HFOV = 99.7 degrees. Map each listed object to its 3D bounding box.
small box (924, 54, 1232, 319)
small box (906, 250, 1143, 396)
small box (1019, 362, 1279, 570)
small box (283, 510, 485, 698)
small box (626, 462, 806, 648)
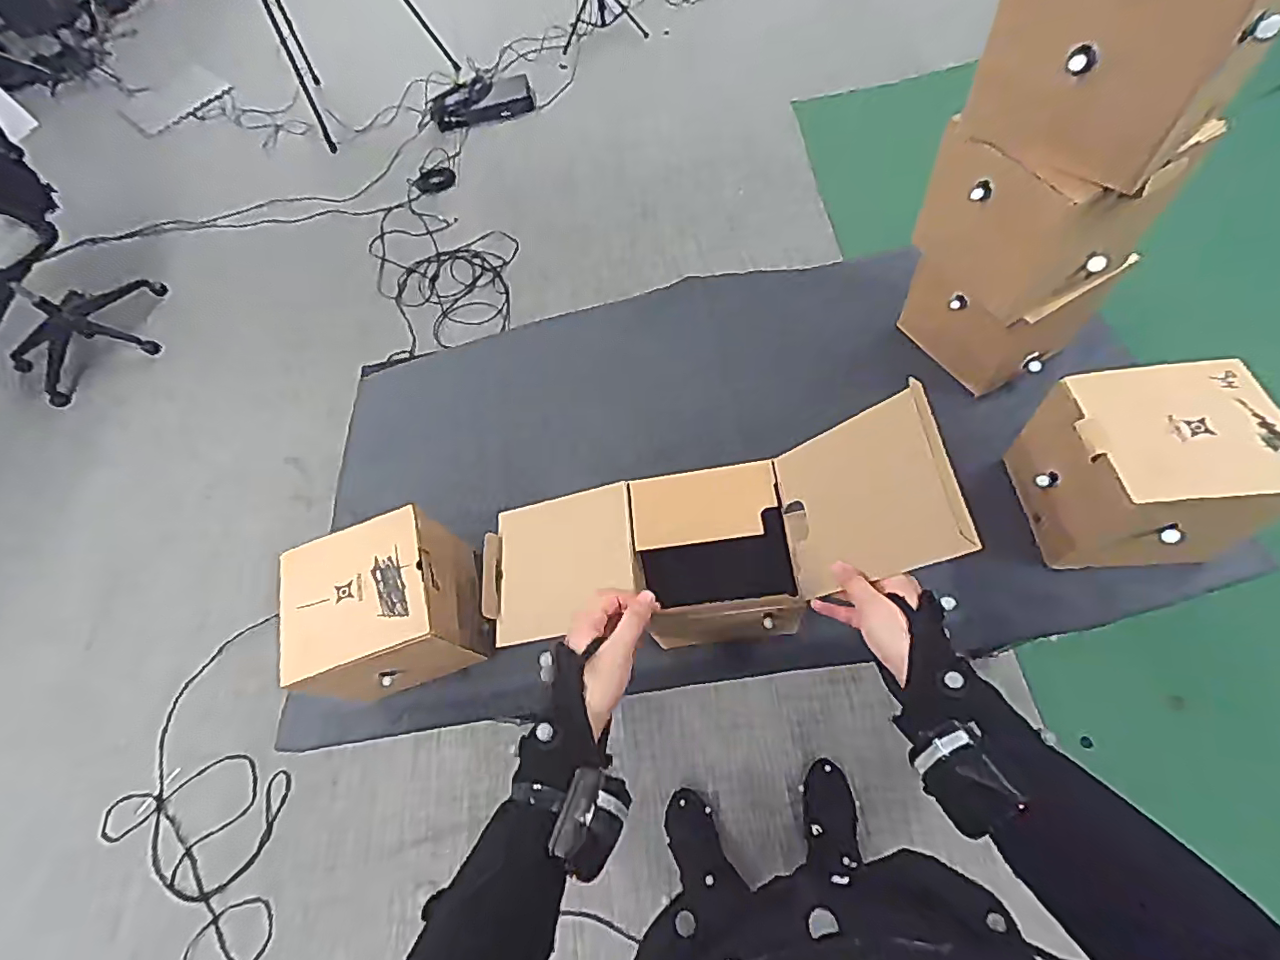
[{"bbox_3d":[0.456,-0.319,0.606,0.168,0.176,0.179,-27,62,0],"label":"small box"},{"bbox_3d":[0.506,-0.251,0.749,0.168,0.176,0.179,-30,63,-3],"label":"small box"},{"bbox_3d":[0.565,-0.006,0.608,0.179,0.176,0.168,-5,58,9],"label":"small box"},{"bbox_3d":[-0.312,0.165,0.687,0.179,0.176,0.168,-20,62,0],"label":"small box"},{"bbox_3d":[0.090,0.099,0.649,0.179,0.176,0.168,-9,63,7],"label":"small box"}]
